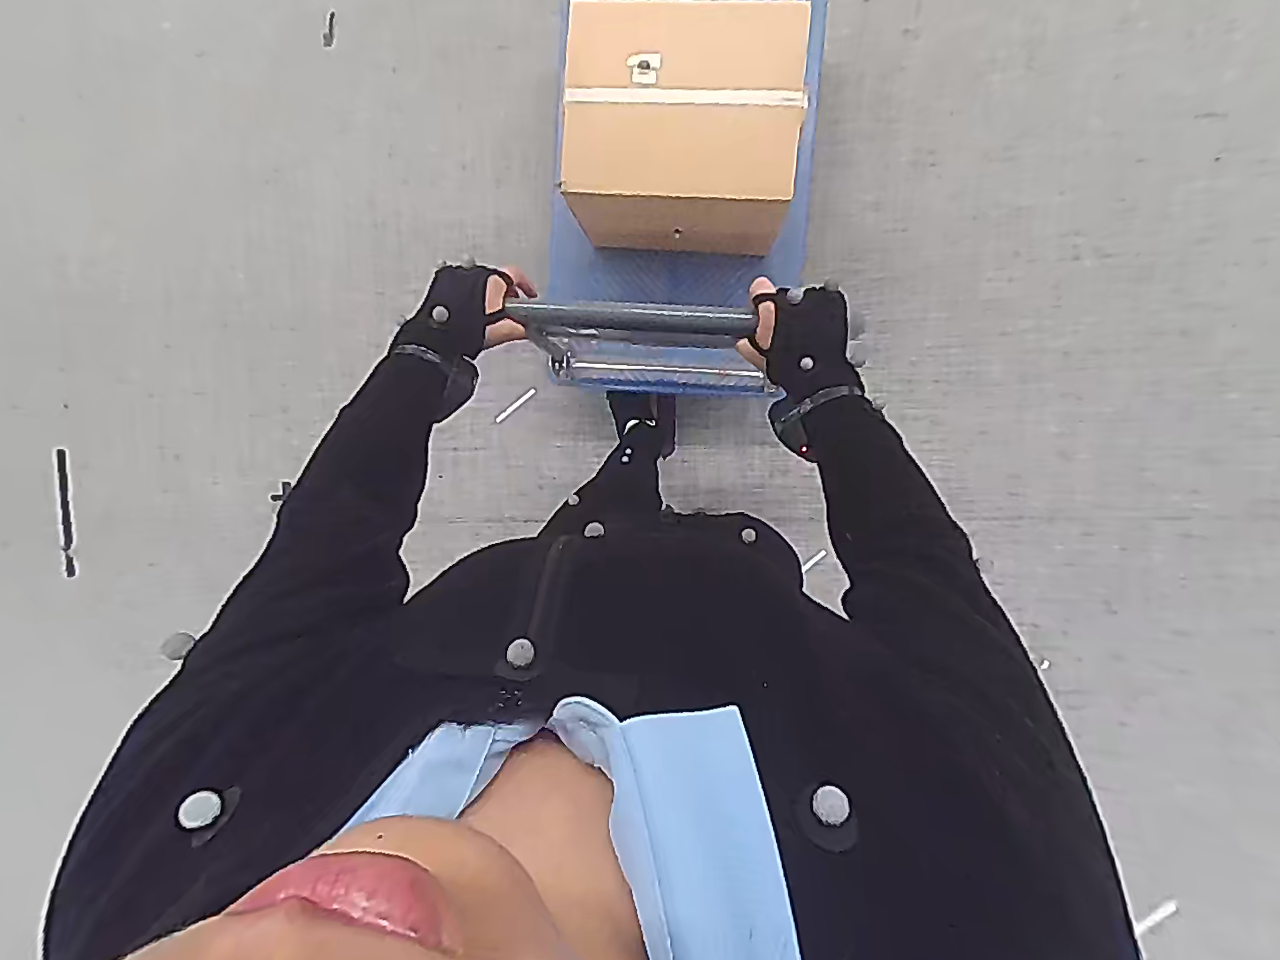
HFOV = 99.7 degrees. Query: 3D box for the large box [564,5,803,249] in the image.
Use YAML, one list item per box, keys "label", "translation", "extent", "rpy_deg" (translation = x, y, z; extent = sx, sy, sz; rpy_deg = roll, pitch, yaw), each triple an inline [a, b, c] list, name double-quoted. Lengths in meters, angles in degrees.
- label: "large box"
  translation: [0.087, -0.668, 1.083]
  extent: [0.408, 0.320, 0.320]
  rpy_deg: [5, 96, 6]
